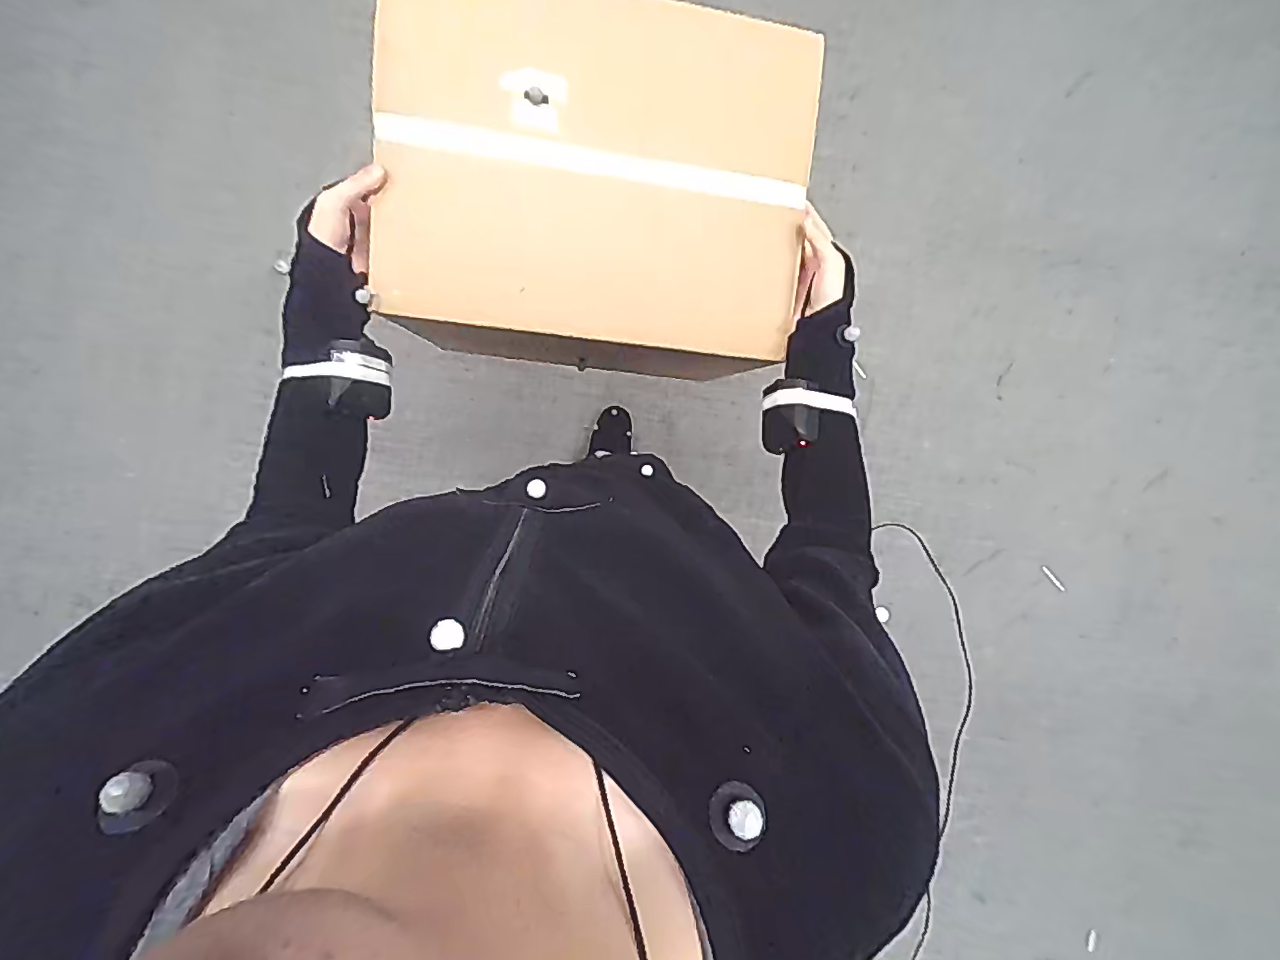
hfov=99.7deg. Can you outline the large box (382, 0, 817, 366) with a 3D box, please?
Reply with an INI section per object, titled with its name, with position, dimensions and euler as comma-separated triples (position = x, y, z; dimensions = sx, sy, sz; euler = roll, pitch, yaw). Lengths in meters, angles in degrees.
[large box]
position = -0.053, -0.318, 0.662
dimensions = 0.408, 0.320, 0.320
euler = 5, 96, -9
